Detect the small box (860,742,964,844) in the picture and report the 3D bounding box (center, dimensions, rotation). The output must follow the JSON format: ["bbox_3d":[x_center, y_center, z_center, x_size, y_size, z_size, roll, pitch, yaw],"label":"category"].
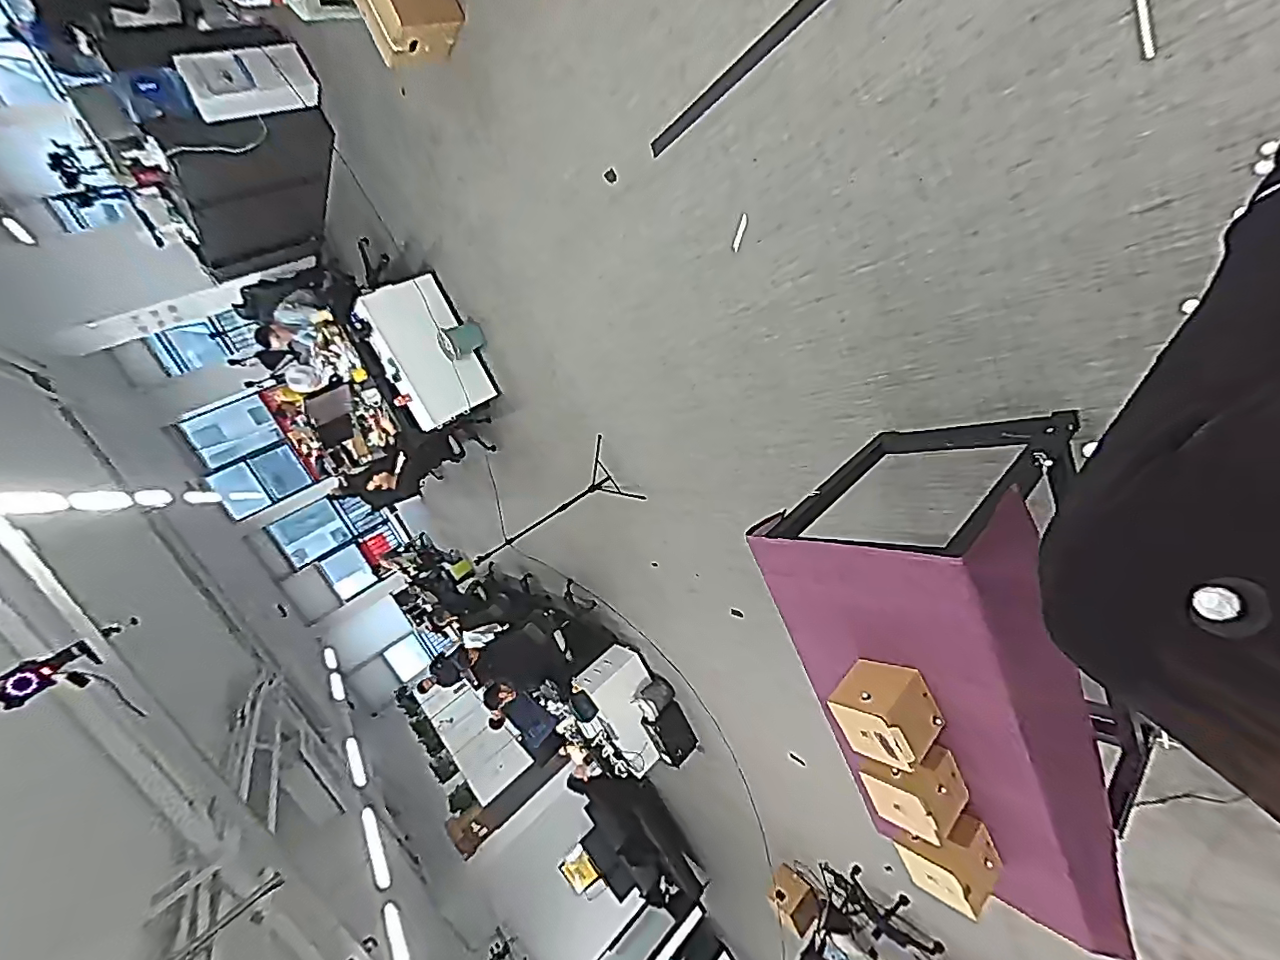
[{"bbox_3d":[0.725,0.797,1.428,0.179,0.176,0.168,-6,114,59],"label":"small box"}]

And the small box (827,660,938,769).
[{"bbox_3d":[0.617,0.578,1.361,0.168,0.176,0.179,60,152,-8],"label":"small box"}]

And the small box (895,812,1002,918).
[{"bbox_3d":[0.841,1.015,1.473,0.179,0.176,0.168,-9,113,59],"label":"small box"}]
